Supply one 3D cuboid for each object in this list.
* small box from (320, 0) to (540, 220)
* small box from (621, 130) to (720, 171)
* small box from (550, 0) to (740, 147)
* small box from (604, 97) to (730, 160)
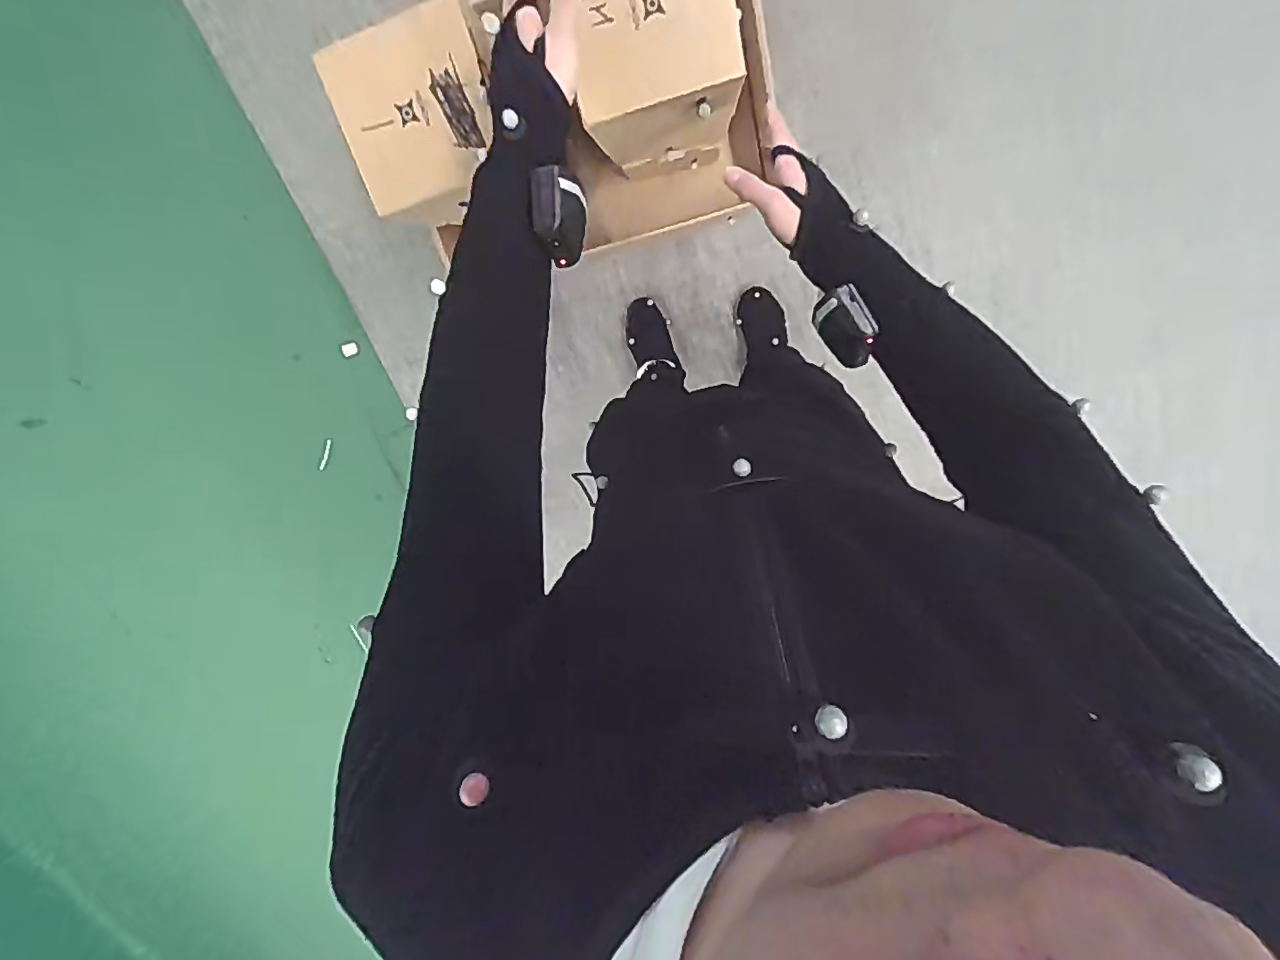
[{"bbox_3d":[-0.238,-0.436,0.671,0.179,0.176,0.168,-13,110,12],"label":"small box"},{"bbox_3d":[0.044,-0.634,0.909,0.168,0.176,0.179,-8,112,10],"label":"small box"},{"bbox_3d":[0.008,-0.501,0.610,0.179,0.176,0.168,-11,111,11],"label":"small box"},{"bbox_3d":[0.025,-0.571,0.760,0.179,0.176,0.168,-8,112,9],"label":"small box"}]
